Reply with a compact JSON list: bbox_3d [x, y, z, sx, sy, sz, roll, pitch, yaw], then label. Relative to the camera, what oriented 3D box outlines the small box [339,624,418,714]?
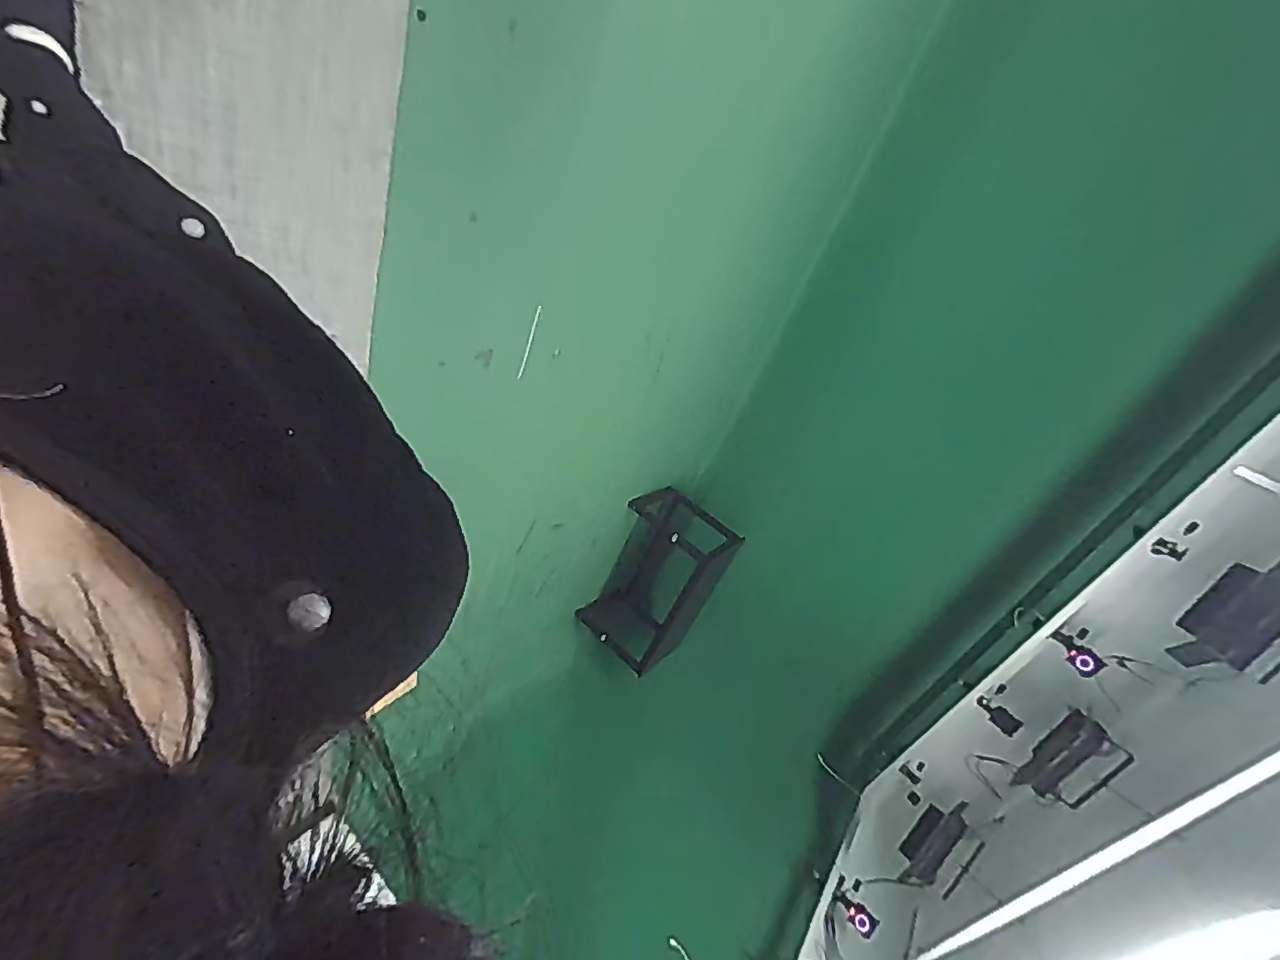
[{"bbox_3d":[-0.814,0.578,1.682,0.168,0.176,0.179,-28,147,-44],"label":"small box"}]
